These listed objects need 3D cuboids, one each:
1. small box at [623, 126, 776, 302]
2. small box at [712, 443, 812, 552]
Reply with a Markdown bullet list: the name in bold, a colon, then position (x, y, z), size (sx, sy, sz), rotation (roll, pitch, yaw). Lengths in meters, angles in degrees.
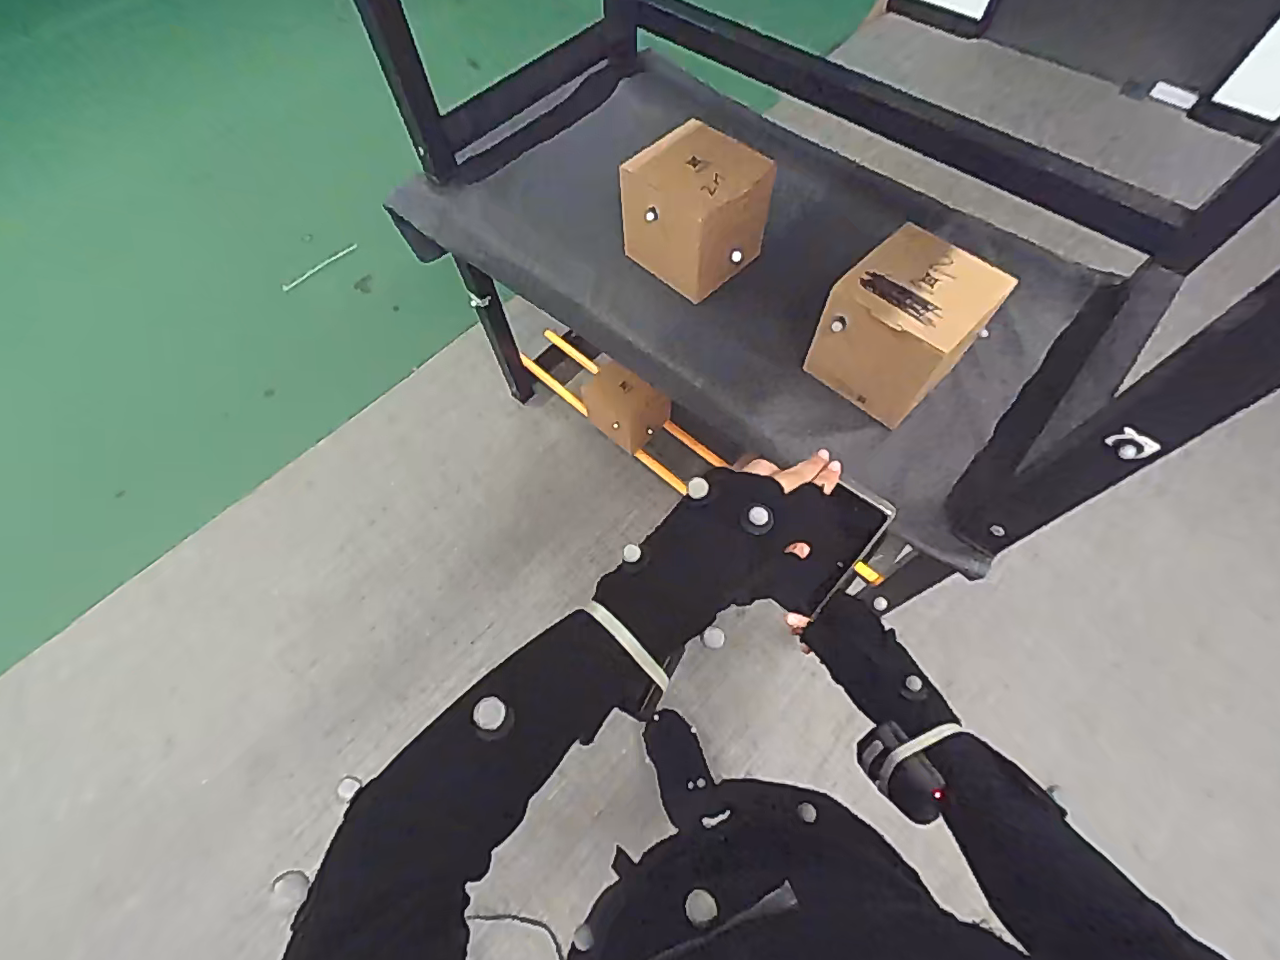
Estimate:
- **small box**: position (0.091, -0.431, 0.890), size (0.168, 0.176, 0.179), rotation (-42, 69, -17)
- **small box**: position (0.293, 0.050, 1.338), size (0.179, 0.176, 0.168), rotation (-42, 69, -16)
